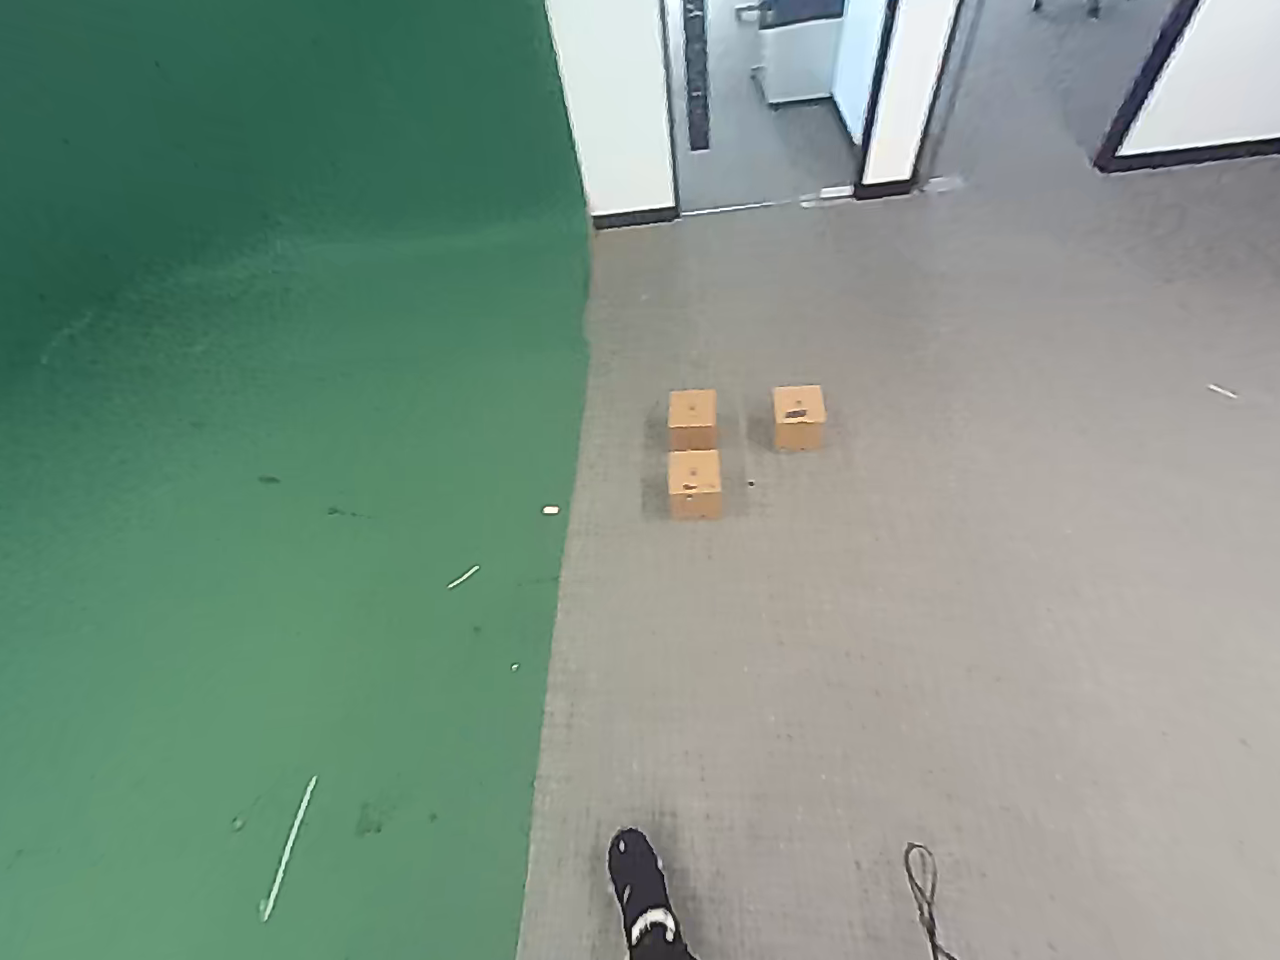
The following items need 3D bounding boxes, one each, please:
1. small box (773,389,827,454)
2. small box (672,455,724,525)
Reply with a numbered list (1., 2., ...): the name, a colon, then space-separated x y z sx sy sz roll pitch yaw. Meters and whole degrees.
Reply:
1. small box: 0.570 -0.204 1.945 0.168 0.176 0.179 -2 54 9
2. small box: 0.199 0.035 1.838 0.168 0.176 0.179 -3 53 8
